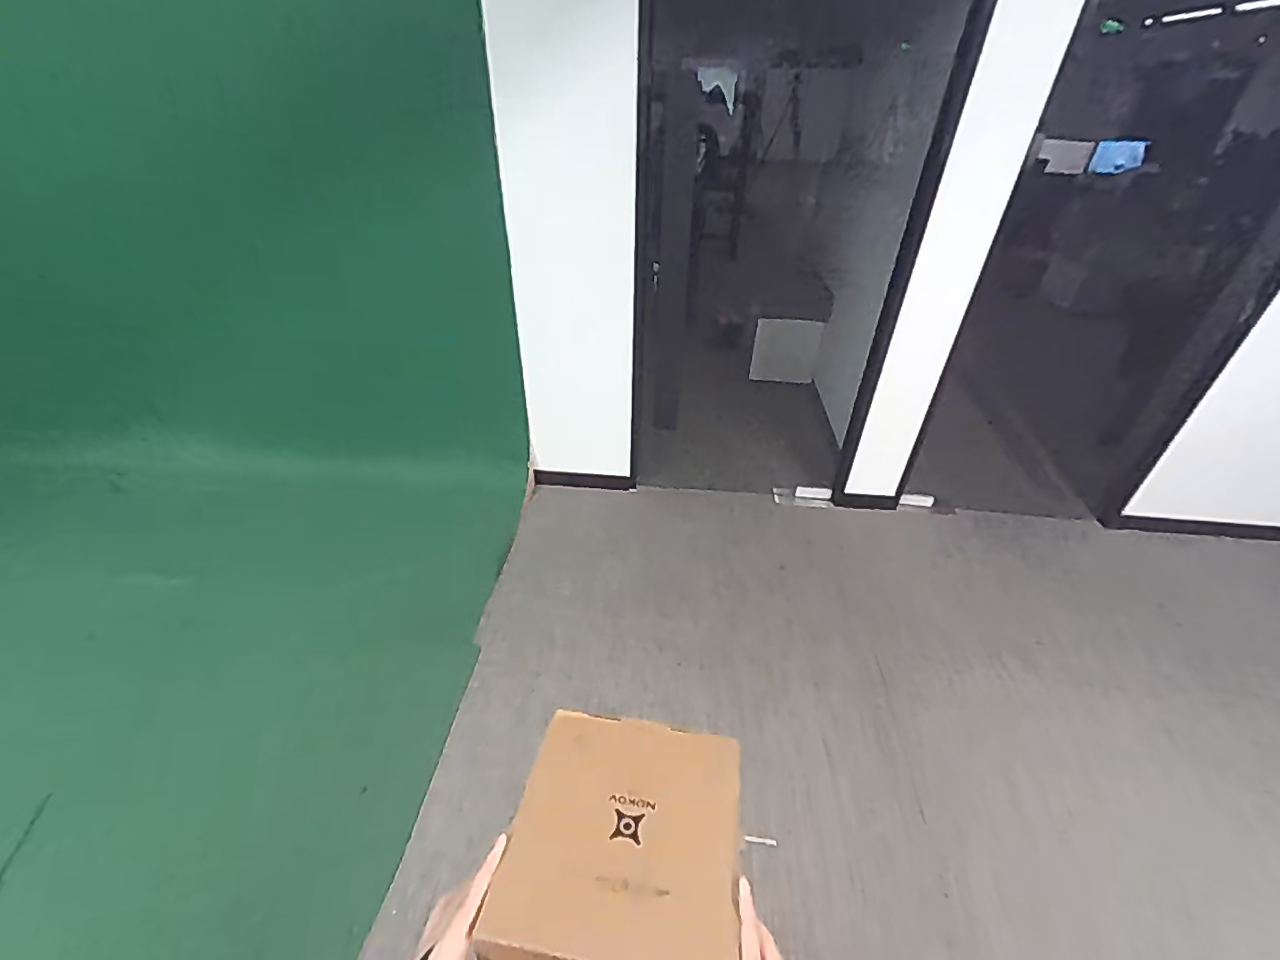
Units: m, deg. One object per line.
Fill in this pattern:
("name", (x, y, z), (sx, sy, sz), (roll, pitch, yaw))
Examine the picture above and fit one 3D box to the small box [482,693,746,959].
("small box", (-0.010, 0.310, 0.433), (0.168, 0.176, 0.179), (7, 28, 8))
